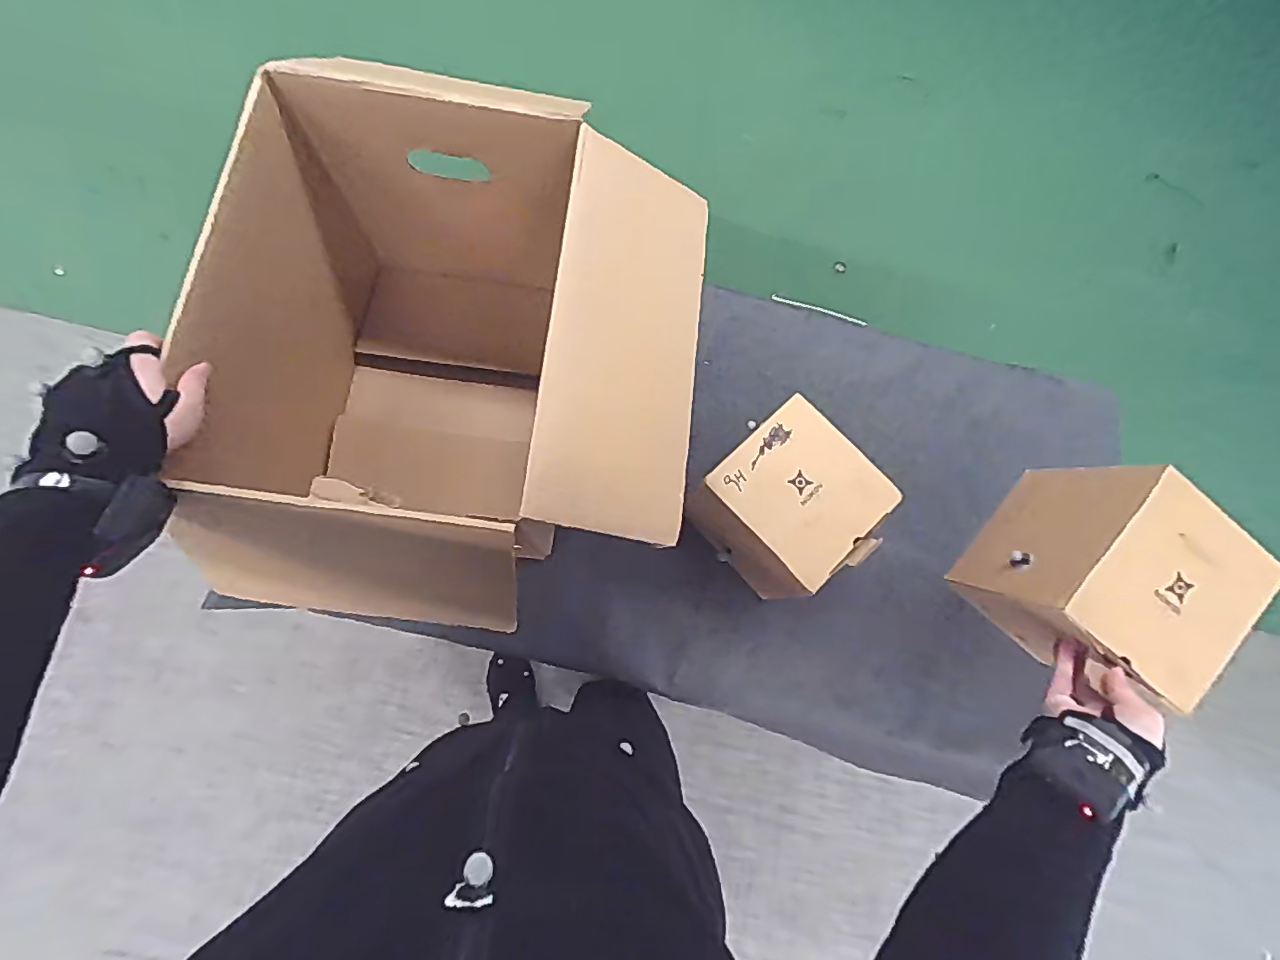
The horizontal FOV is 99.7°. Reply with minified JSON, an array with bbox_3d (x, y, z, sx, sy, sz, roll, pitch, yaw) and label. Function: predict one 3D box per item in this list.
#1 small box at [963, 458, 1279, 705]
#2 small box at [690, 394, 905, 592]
[{"bbox_3d":[0.494,0.095,0.583,0.168,0.176,0.179,39,87,-5],"label":"small box"},{"bbox_3d":[0.189,0.025,0.701,0.168,0.176,0.179,-40,84,-11],"label":"small box"}]
